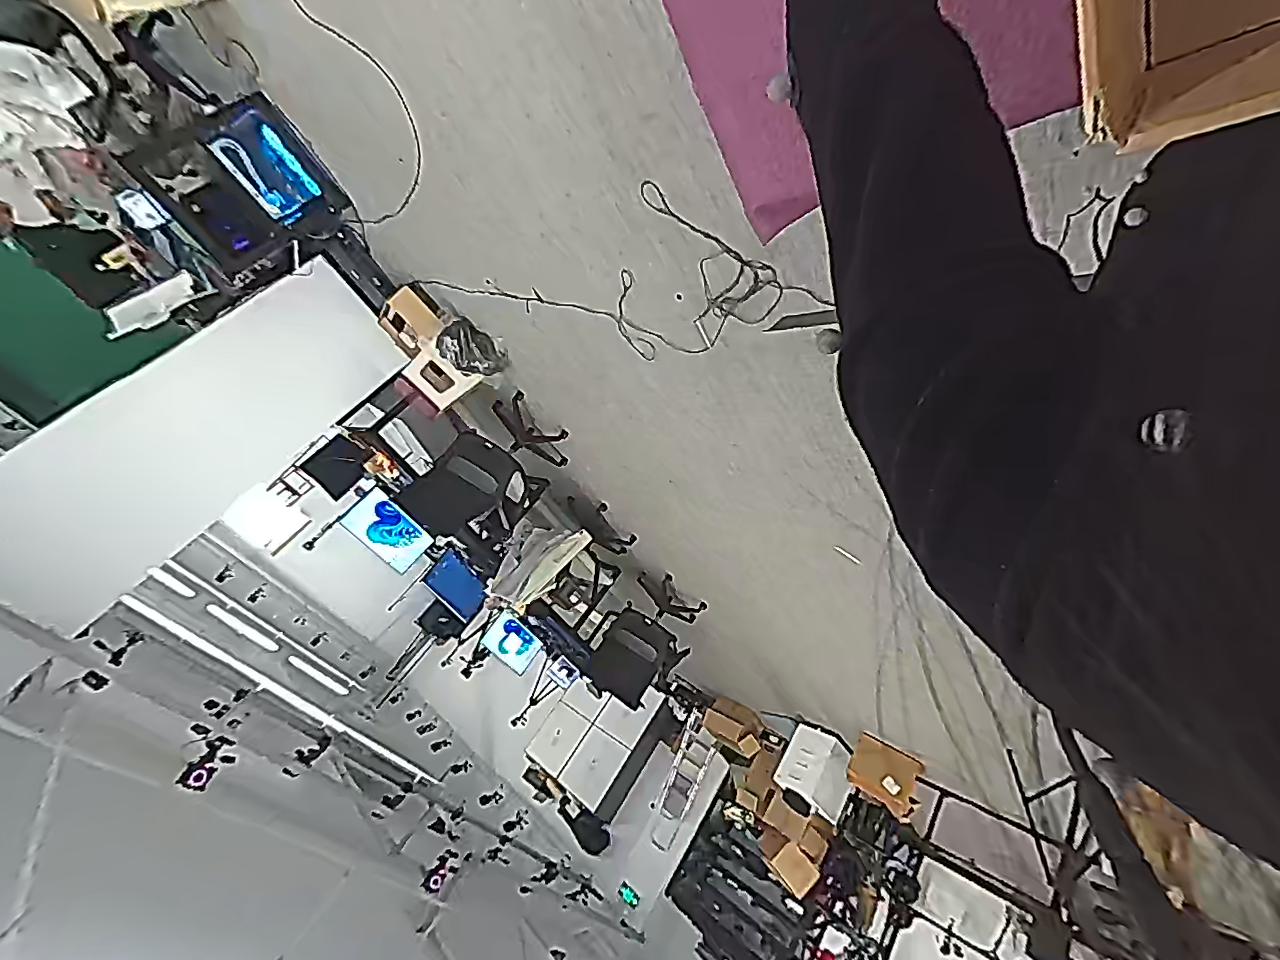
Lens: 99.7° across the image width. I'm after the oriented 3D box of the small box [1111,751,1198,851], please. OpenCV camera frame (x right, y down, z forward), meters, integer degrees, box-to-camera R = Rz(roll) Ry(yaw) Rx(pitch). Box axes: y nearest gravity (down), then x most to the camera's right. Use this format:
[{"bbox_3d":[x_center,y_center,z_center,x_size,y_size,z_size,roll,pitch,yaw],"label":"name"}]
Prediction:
[{"bbox_3d":[1.519,0.940,1.599,0.168,0.176,0.179,11,142,45],"label":"small box"}]
